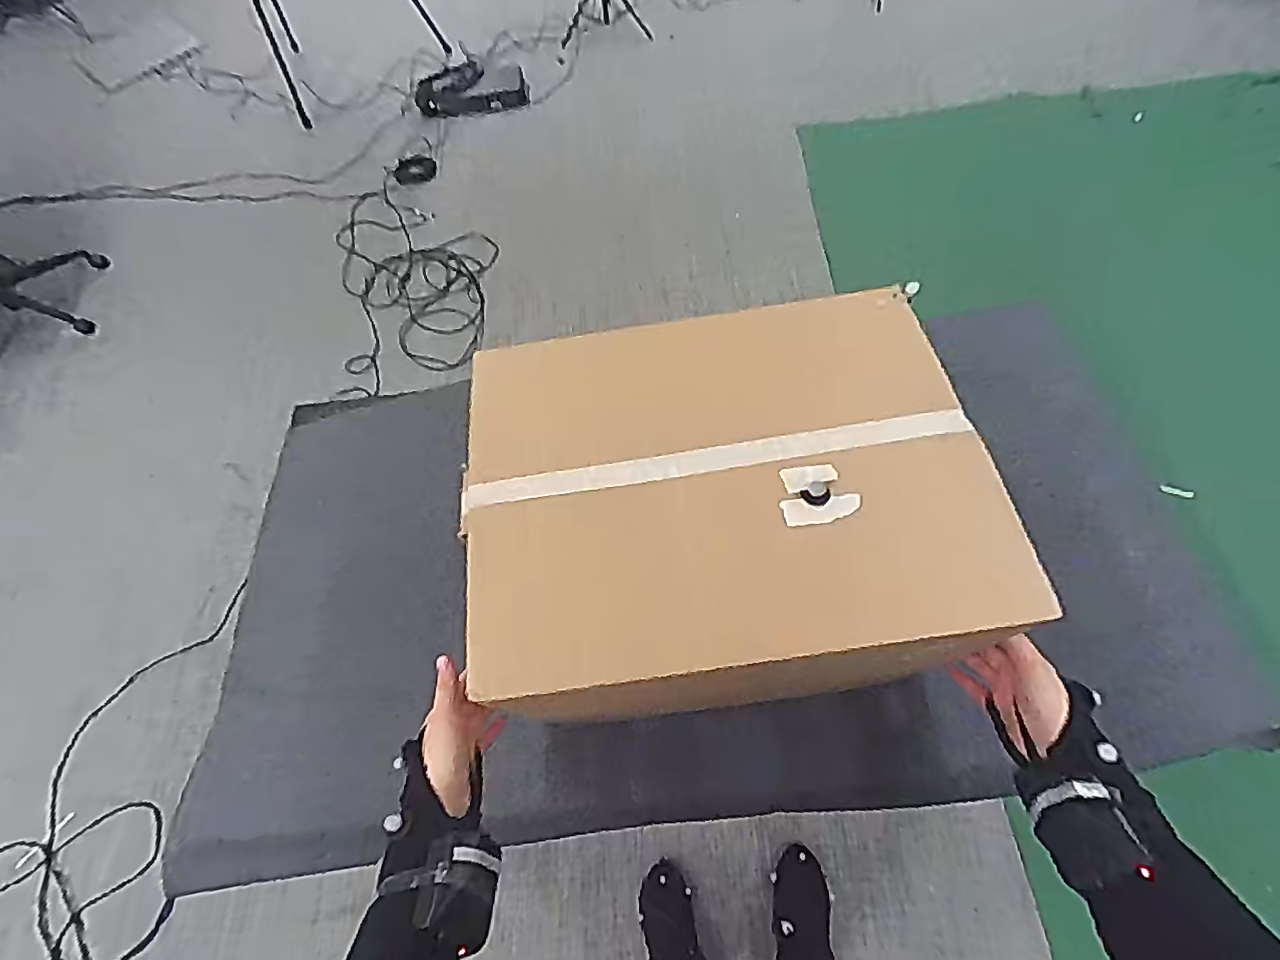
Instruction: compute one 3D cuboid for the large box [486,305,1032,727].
[{"bbox_3d":[0.077,0.064,0.586,0.408,0.320,0.320,-9,63,1],"label":"large box"}]
